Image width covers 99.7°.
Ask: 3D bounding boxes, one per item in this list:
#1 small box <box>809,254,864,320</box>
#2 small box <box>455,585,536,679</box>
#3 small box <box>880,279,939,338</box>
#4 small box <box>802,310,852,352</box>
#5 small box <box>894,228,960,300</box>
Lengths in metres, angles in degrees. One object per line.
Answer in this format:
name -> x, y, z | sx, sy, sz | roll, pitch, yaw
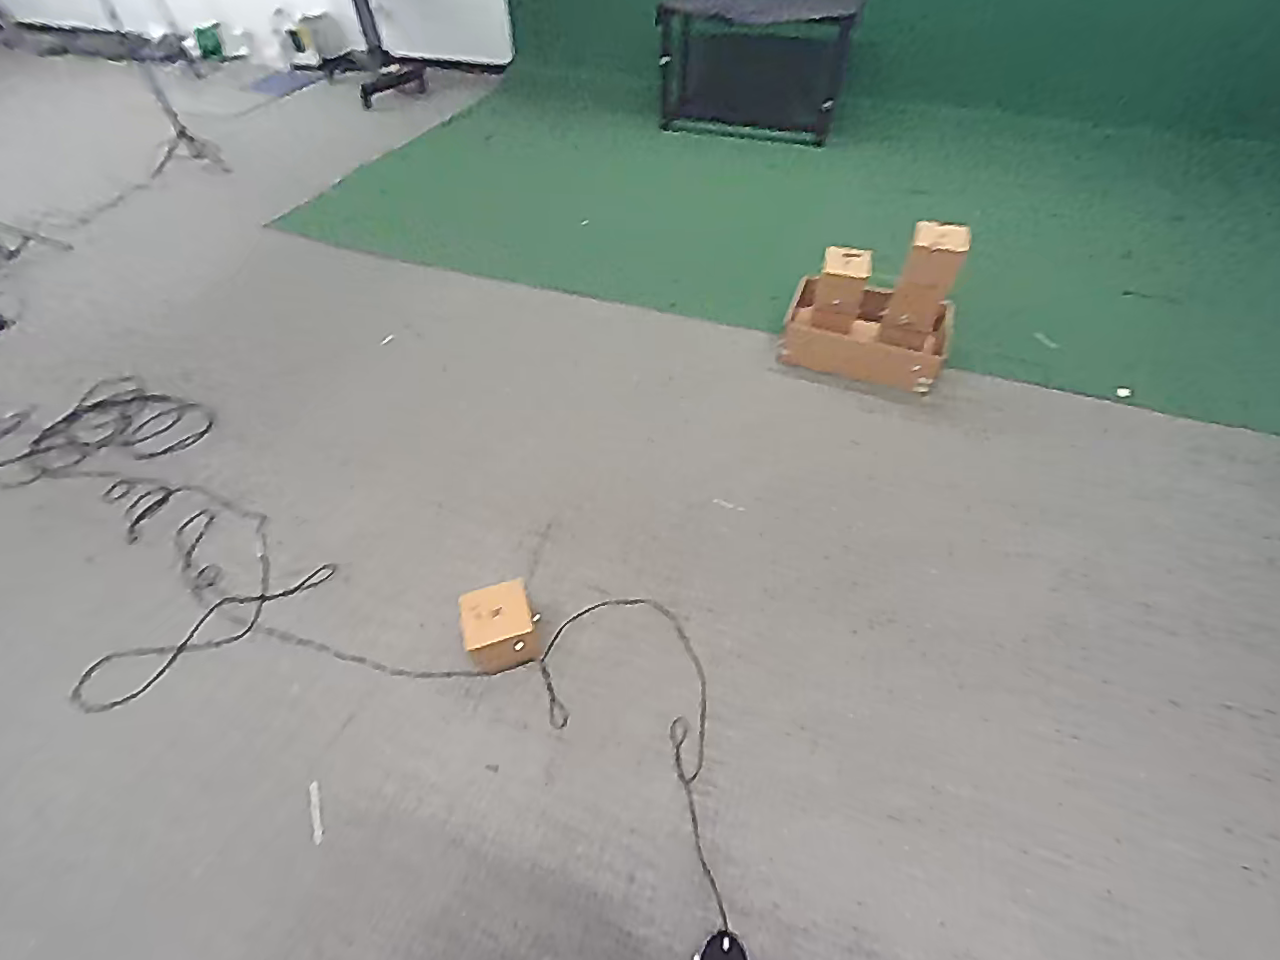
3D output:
small box -> 0.784, -0.773, 2.163 | 0.168, 0.176, 0.179 | 12, 54, 10
small box -> -0.389, 0.416, 1.478 | 0.179, 0.176, 0.168 | -15, 51, -11
small box -> 1.041, -0.678, 2.083 | 0.168, 0.176, 0.179 | 18, 55, 17
small box -> 0.796, -0.676, 2.298 | 0.168, 0.176, 0.179 | 14, 53, 11
small box -> 1.036, -0.781, 1.954 | 0.168, 0.176, 0.179 | 15, 52, 15
